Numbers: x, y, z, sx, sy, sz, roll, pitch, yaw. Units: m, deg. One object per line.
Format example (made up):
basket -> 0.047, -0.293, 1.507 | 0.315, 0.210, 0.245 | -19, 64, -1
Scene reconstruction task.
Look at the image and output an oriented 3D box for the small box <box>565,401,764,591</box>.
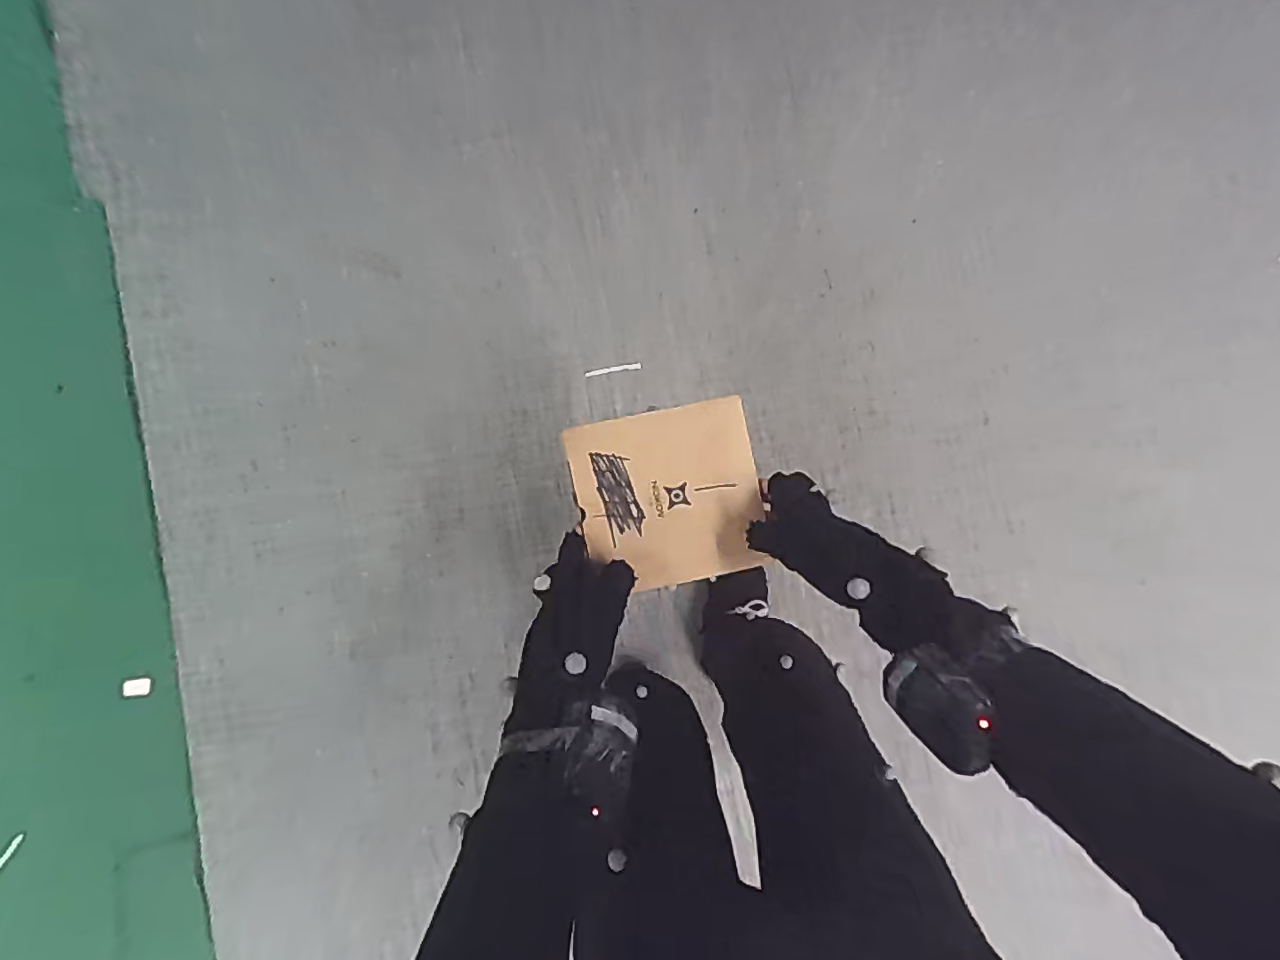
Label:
small box -> 0.023, 0.019, 0.617 | 0.179, 0.176, 0.168 | -12, 89, -2
